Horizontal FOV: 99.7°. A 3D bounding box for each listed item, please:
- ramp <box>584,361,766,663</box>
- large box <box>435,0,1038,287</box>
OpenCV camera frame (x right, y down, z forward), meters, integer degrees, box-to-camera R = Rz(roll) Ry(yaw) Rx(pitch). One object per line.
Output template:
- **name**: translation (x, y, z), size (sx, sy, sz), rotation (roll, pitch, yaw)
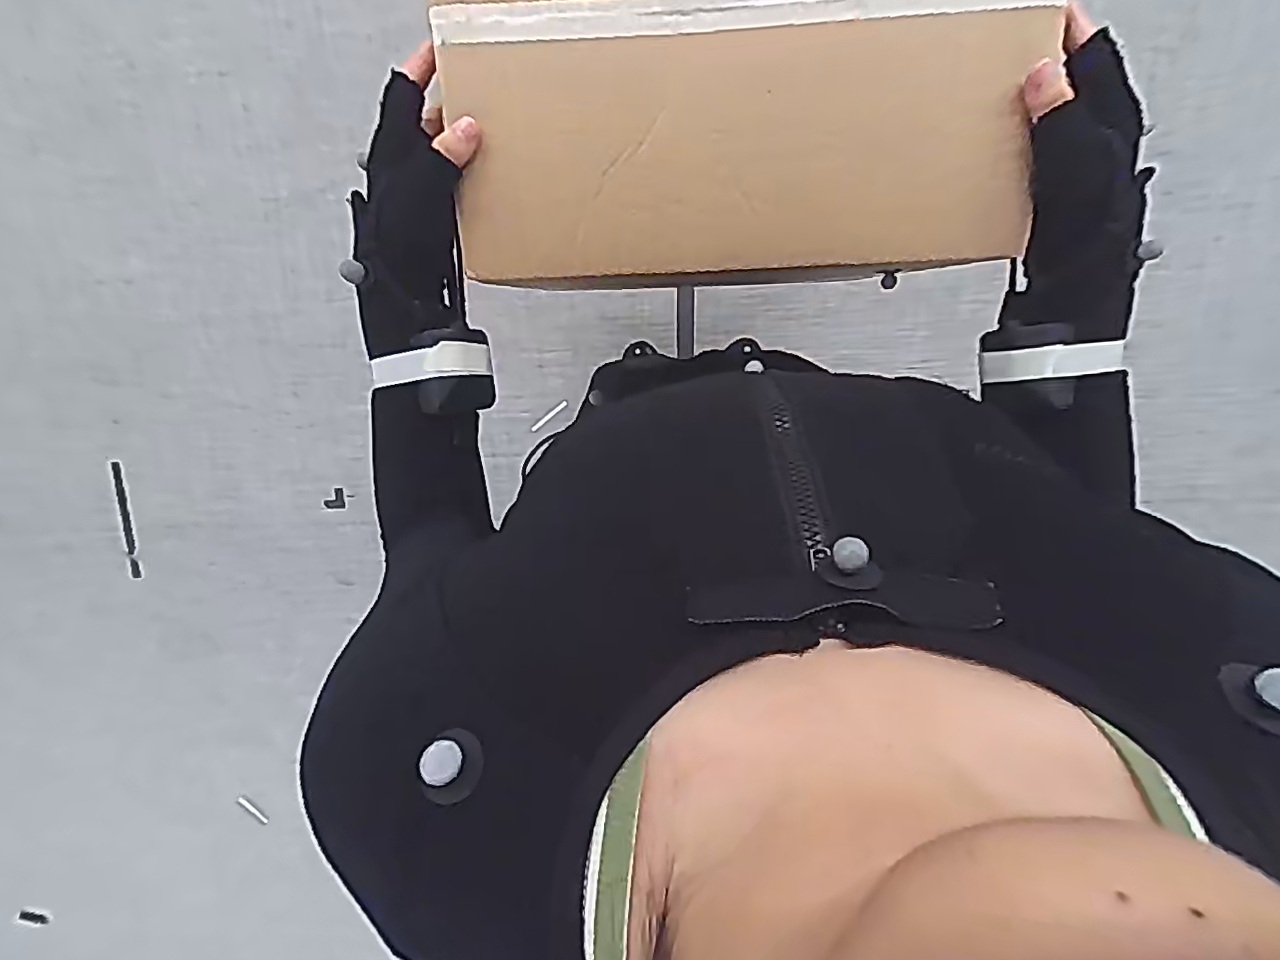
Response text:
- **ramp**: translation (0.112, 0.149, 1.622), size (0.509, 0.206, 0.991), rotation (-3, 103, 2)
- **large box**: translation (0.066, -0.352, 0.498), size (0.408, 0.320, 0.320), rotation (-2, 108, 1)
